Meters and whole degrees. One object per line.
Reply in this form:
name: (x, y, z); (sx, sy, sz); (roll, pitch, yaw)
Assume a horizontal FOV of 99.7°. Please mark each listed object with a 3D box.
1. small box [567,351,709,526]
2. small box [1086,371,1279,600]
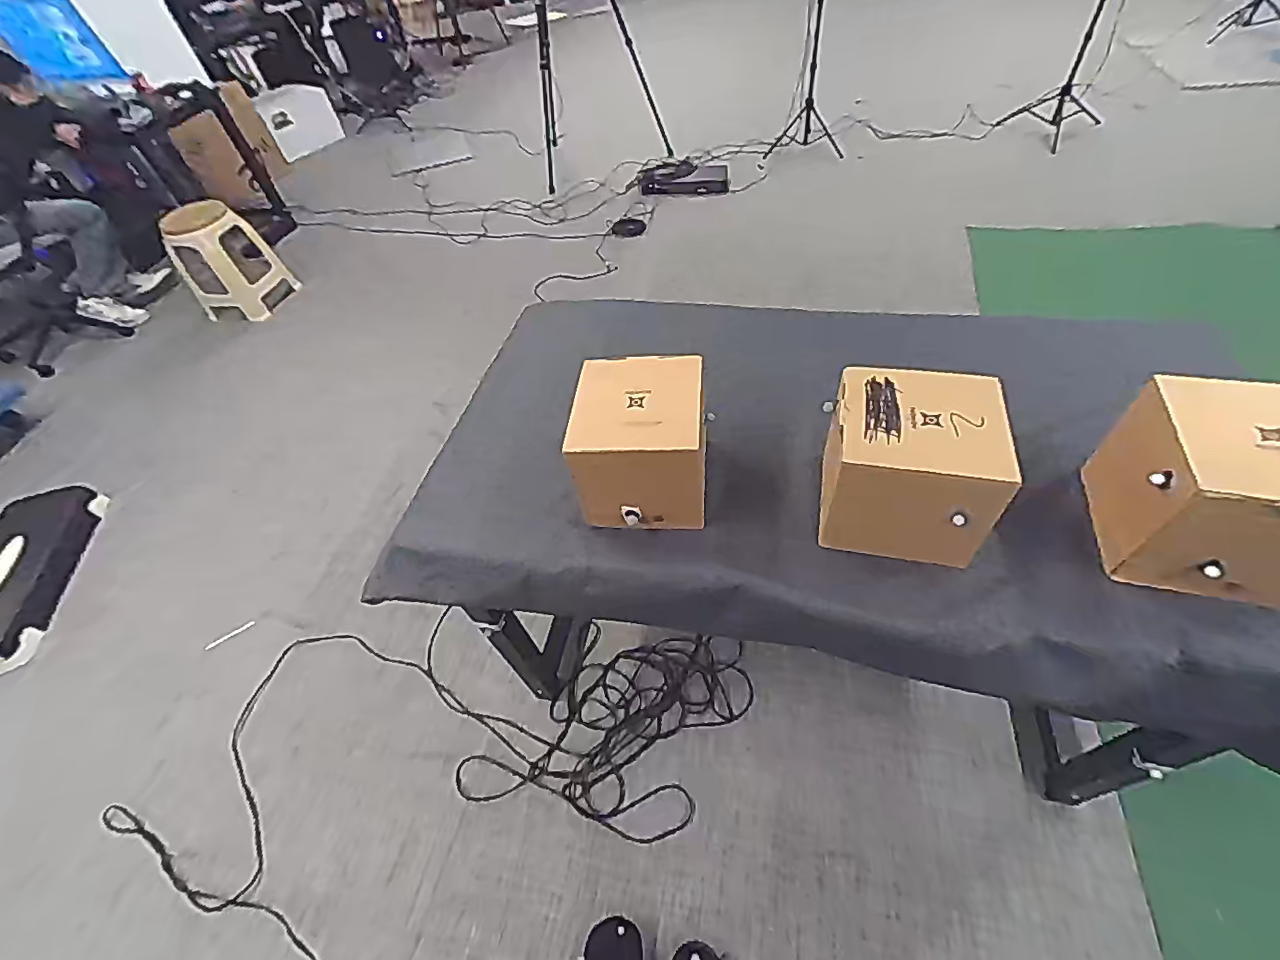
small box: (0.009, -0.055, 0.745); (0.168, 0.176, 0.179); (-1, 51, 9)
small box: (0.641, 0.006, 0.601); (0.168, 0.176, 0.179); (9, 53, 16)
